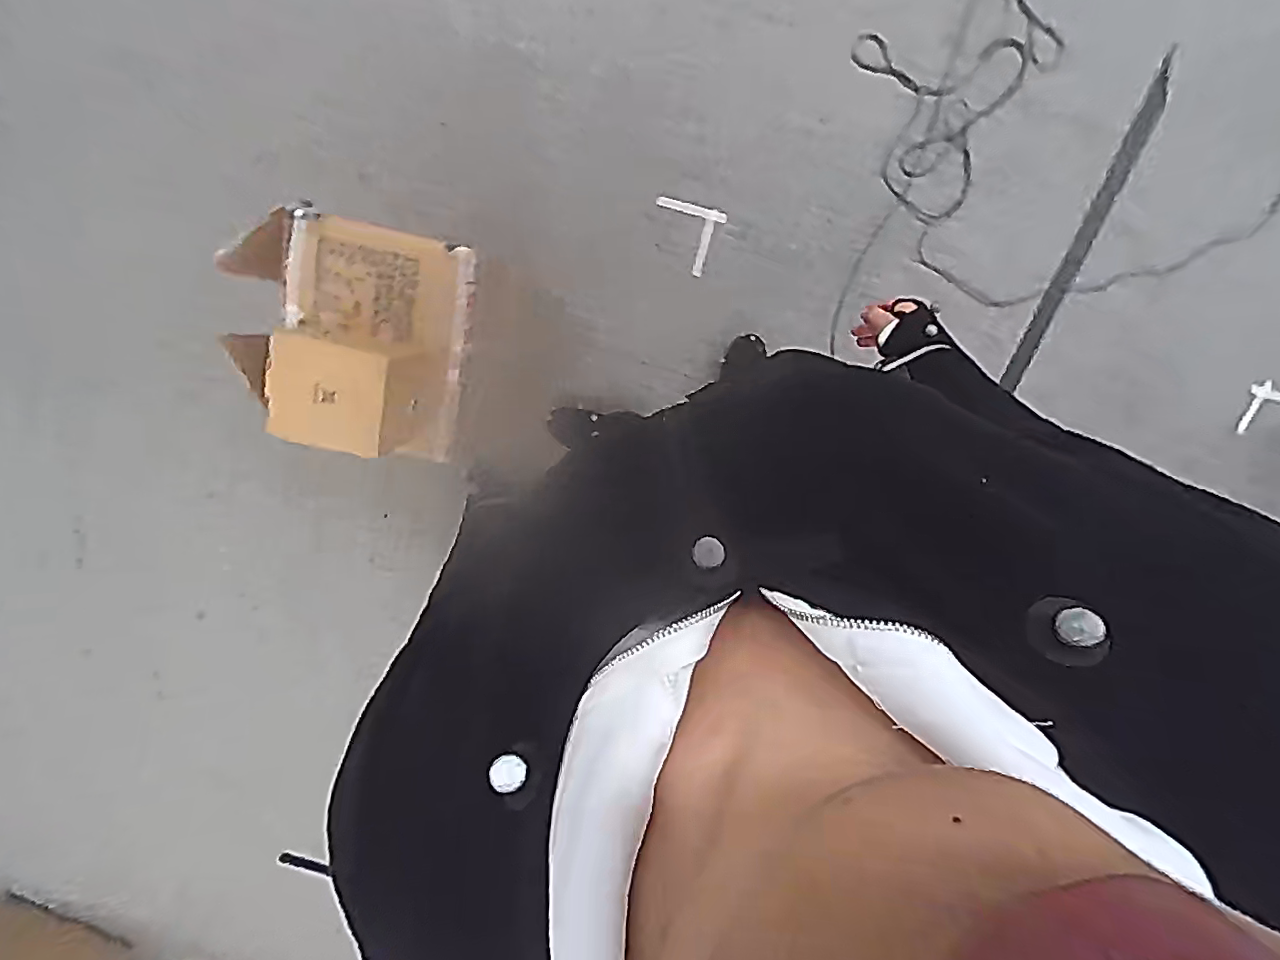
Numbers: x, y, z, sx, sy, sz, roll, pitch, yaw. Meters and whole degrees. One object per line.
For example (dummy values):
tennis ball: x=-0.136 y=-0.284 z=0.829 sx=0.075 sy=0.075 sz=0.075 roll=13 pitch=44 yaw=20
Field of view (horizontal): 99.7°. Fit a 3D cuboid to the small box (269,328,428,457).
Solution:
small box: x=-0.479 y=-0.153 z=0.905 sx=0.179 sy=0.176 sz=0.168 roll=12 pitch=107 yaw=-5
